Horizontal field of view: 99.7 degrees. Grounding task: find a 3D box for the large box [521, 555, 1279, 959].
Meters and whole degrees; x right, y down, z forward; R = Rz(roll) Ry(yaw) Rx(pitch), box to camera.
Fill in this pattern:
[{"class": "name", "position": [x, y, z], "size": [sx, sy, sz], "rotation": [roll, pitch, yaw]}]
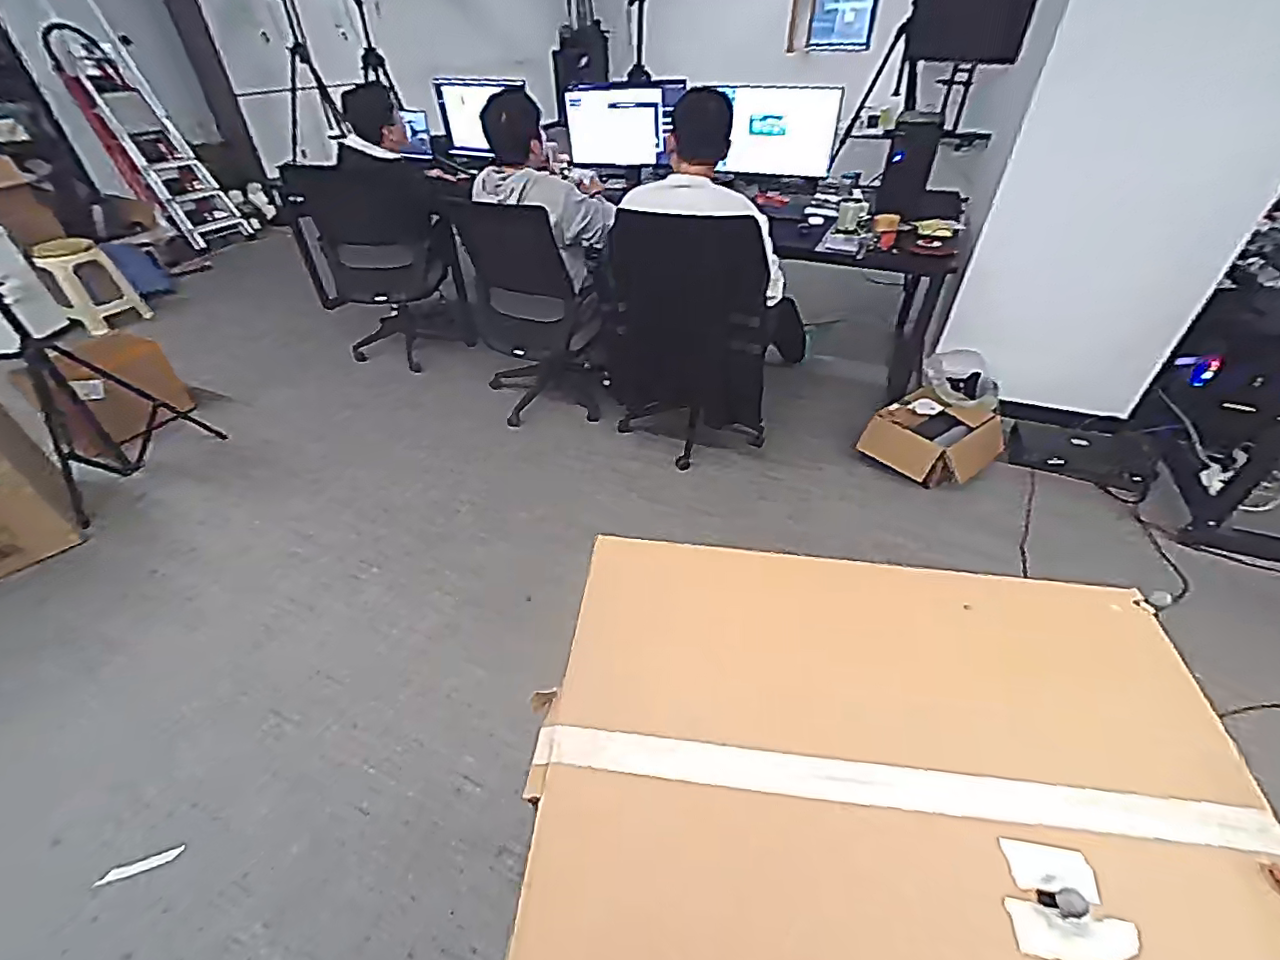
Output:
[{"class": "large box", "position": [0.141, 0.286, 0.425], "size": [0.408, 0.320, 0.320], "rotation": [5, 48, 3]}]
